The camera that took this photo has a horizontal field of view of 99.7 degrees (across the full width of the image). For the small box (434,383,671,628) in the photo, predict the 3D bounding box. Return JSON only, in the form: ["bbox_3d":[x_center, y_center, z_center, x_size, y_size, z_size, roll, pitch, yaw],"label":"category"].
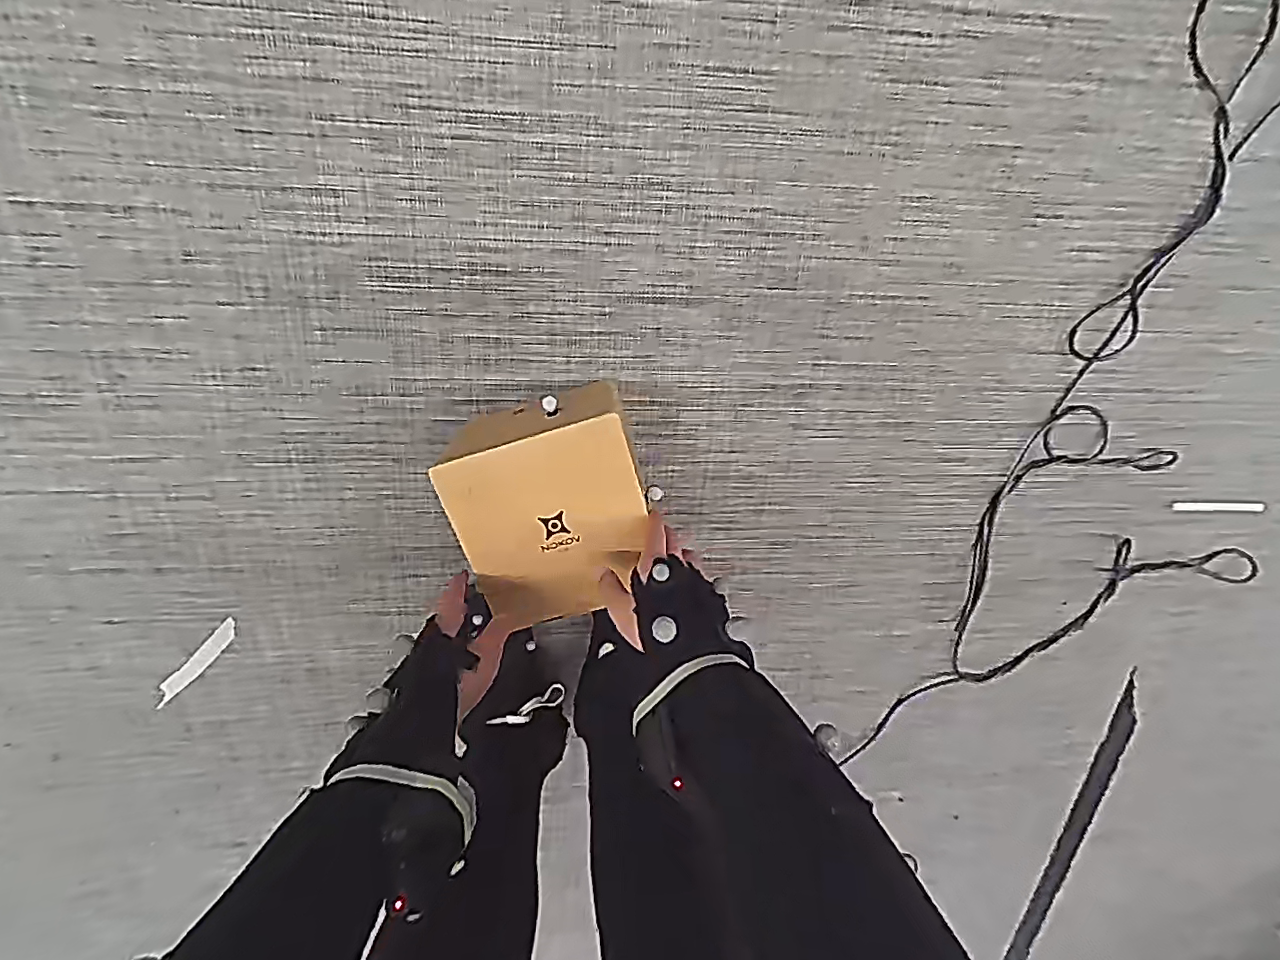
[{"bbox_3d":[-0.079,0.010,0.543,0.168,0.176,0.179,-17,111,0],"label":"small box"}]
